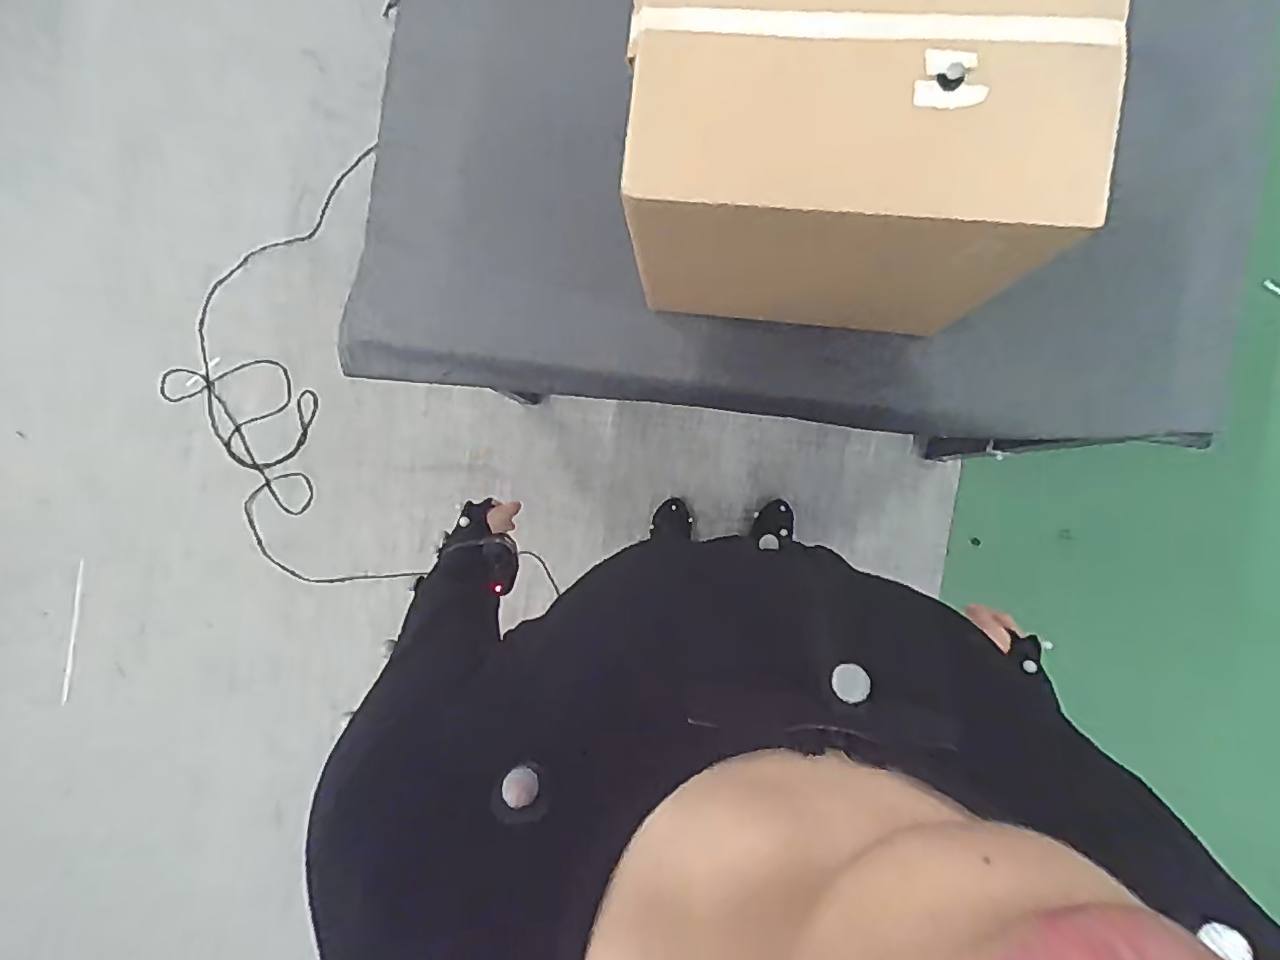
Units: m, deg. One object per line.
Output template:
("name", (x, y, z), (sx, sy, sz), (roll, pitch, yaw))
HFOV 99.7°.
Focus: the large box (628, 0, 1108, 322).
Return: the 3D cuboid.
("large box", (0.209, -0.391, 0.627), (0.408, 0.320, 0.320), (6, 90, 5))
